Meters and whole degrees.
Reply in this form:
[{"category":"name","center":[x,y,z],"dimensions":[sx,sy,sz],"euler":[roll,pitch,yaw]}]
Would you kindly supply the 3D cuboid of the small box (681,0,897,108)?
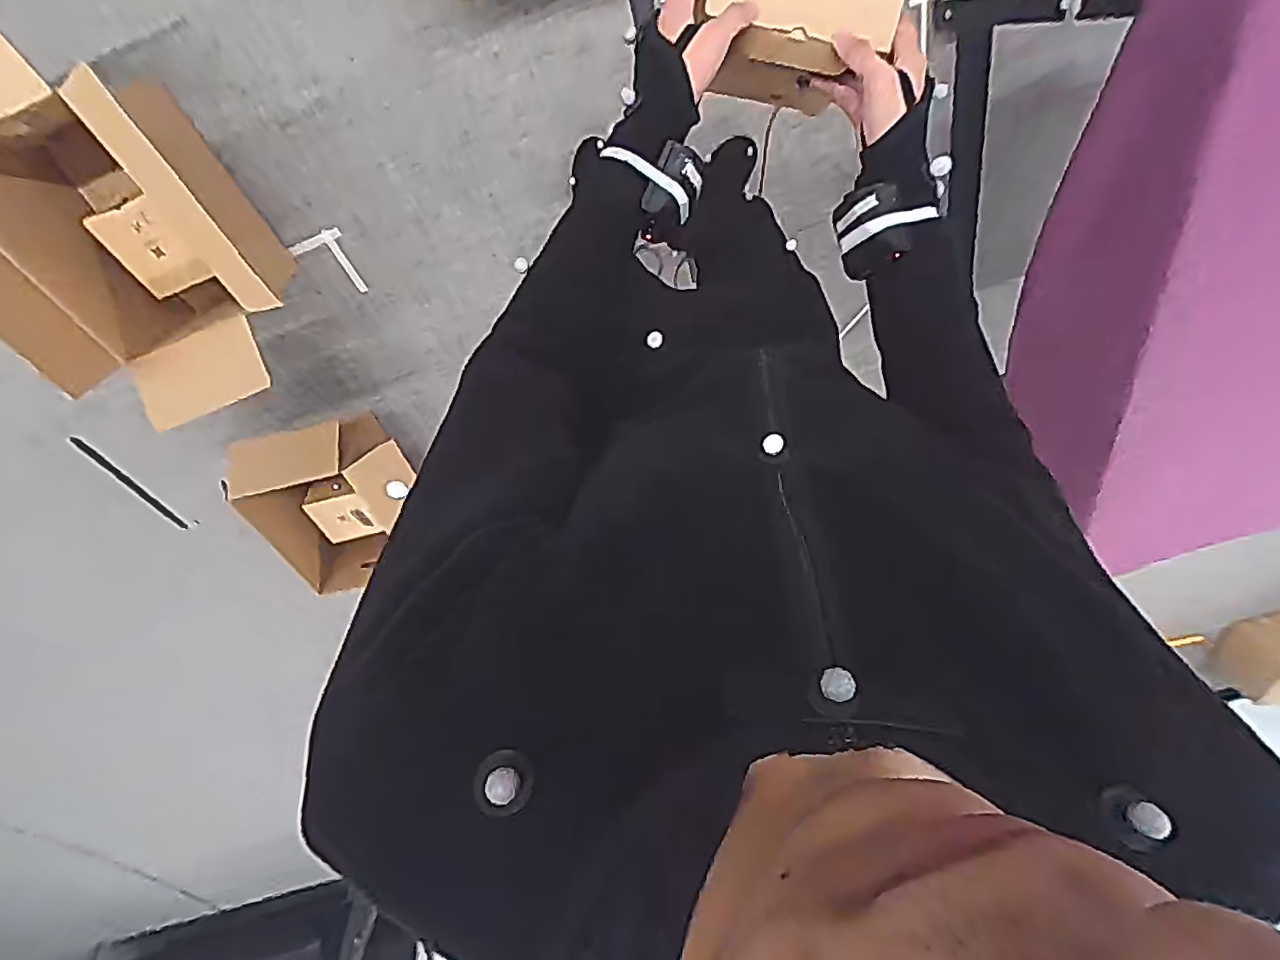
[{"category":"small box","center":[0.137,-0.478,0.501],"dimensions":[0.168,0.176,0.179],"euler":[7,109,-6]}]
